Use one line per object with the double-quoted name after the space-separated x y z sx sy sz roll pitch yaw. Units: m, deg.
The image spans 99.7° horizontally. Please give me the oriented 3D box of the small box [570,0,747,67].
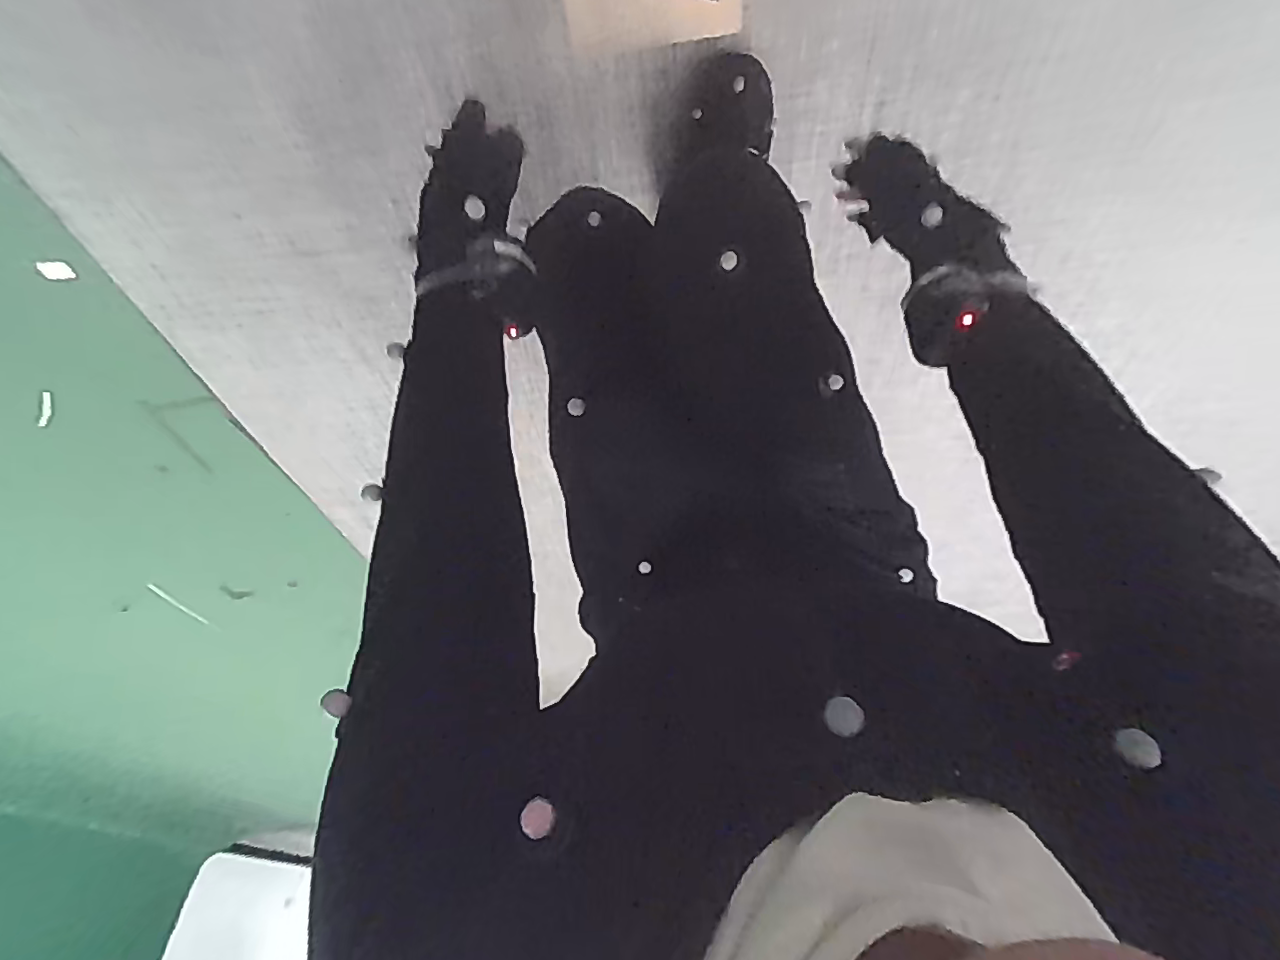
0.011 -0.558 0.556 0.179 0.176 0.168 -6 139 5 "small box"
